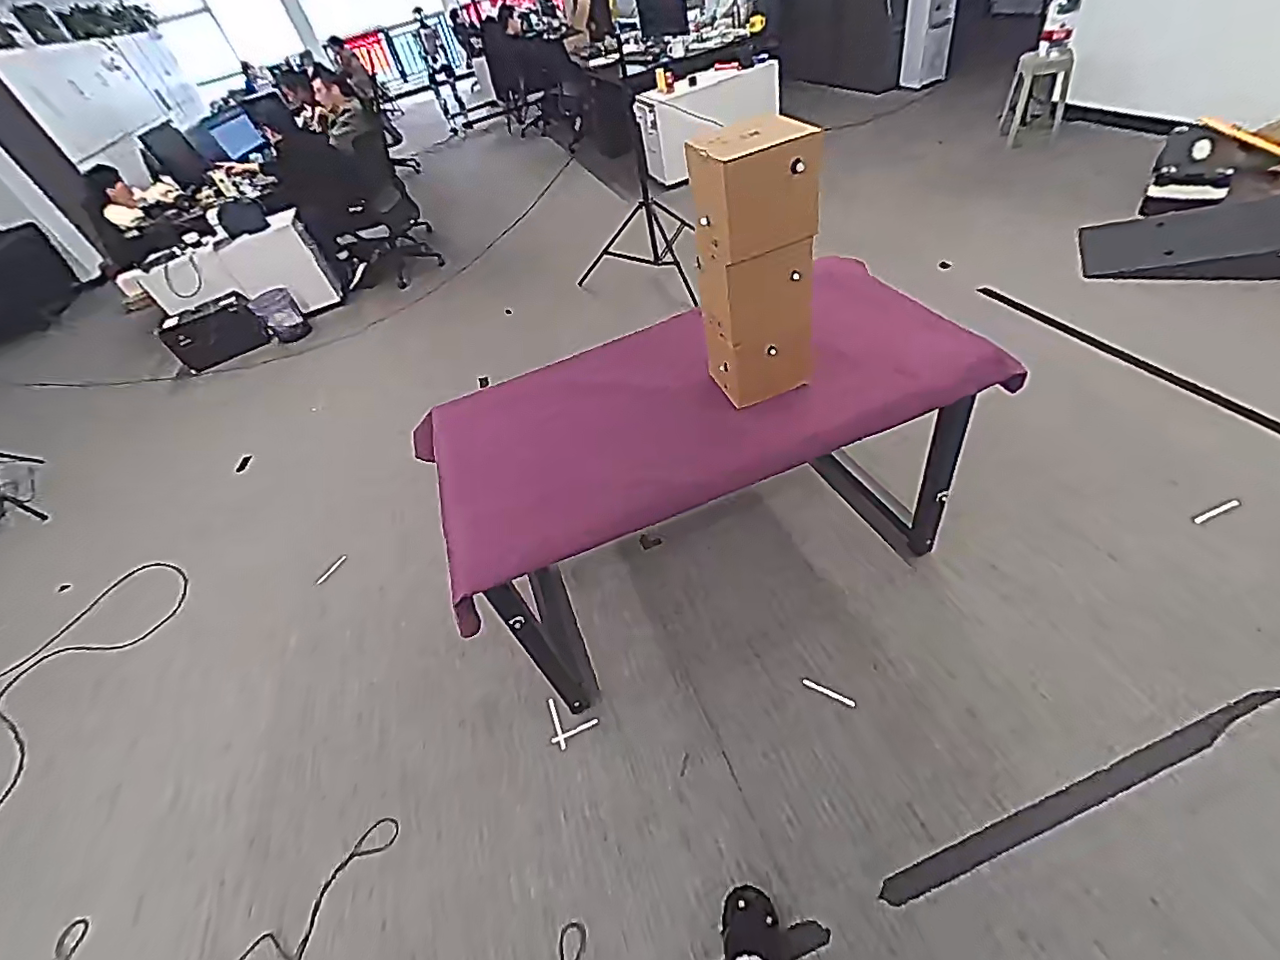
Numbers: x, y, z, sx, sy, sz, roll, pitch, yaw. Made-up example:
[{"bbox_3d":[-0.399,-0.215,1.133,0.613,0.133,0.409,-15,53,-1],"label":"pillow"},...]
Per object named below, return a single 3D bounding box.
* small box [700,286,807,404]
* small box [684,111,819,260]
[{"bbox_3d":[0.252,-0.295,1.192,0.179,0.176,0.168,-21,46,-5],"label":"small box"},{"bbox_3d":[0.195,-0.520,0.958,0.179,0.176,0.168,-22,45,-5],"label":"small box"}]
